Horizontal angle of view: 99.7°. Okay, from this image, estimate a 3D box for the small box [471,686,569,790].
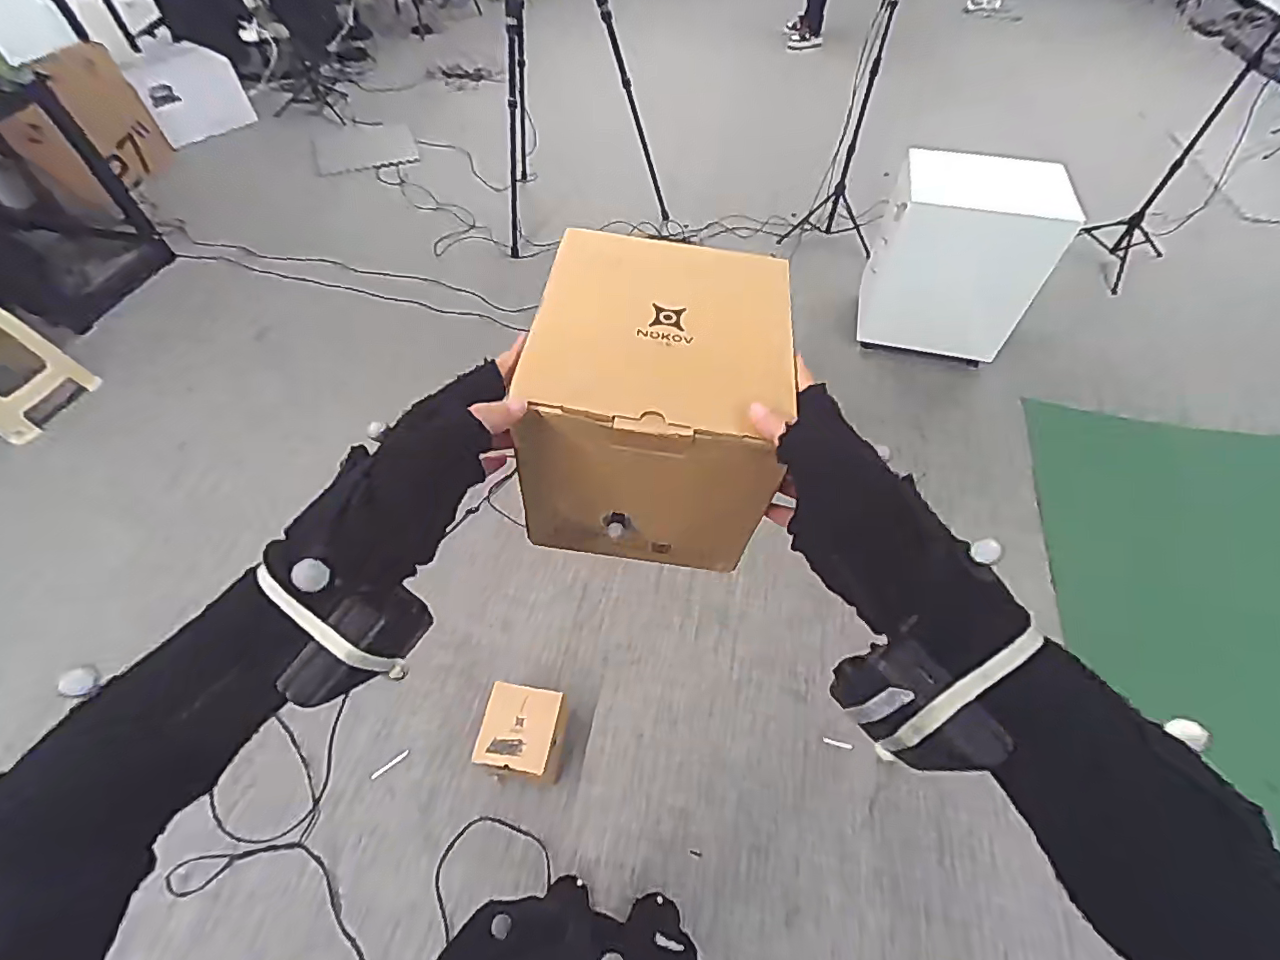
[{"bbox_3d":[-0.269,0.607,1.262,0.168,0.176,0.179,8,53,6],"label":"small box"}]
